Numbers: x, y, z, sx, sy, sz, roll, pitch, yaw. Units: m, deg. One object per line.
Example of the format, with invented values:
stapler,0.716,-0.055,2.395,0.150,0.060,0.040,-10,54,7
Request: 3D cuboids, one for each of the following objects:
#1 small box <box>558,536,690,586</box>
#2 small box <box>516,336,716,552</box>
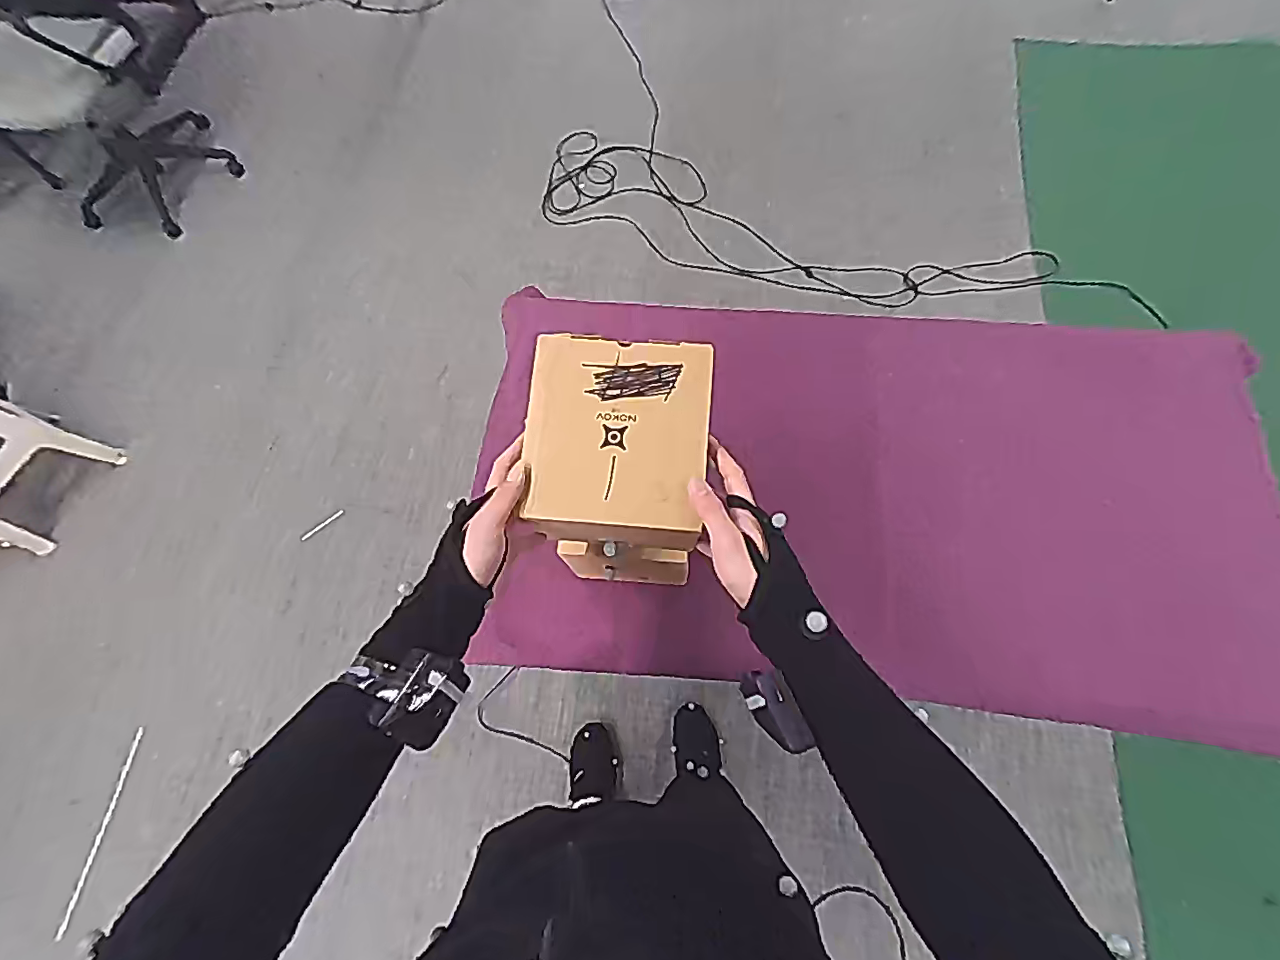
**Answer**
small box,-0.009,0.049,0.774,0.168,0.176,0.179,3,68,6
small box,-0.016,-0.026,0.559,0.168,0.176,0.179,4,78,4
